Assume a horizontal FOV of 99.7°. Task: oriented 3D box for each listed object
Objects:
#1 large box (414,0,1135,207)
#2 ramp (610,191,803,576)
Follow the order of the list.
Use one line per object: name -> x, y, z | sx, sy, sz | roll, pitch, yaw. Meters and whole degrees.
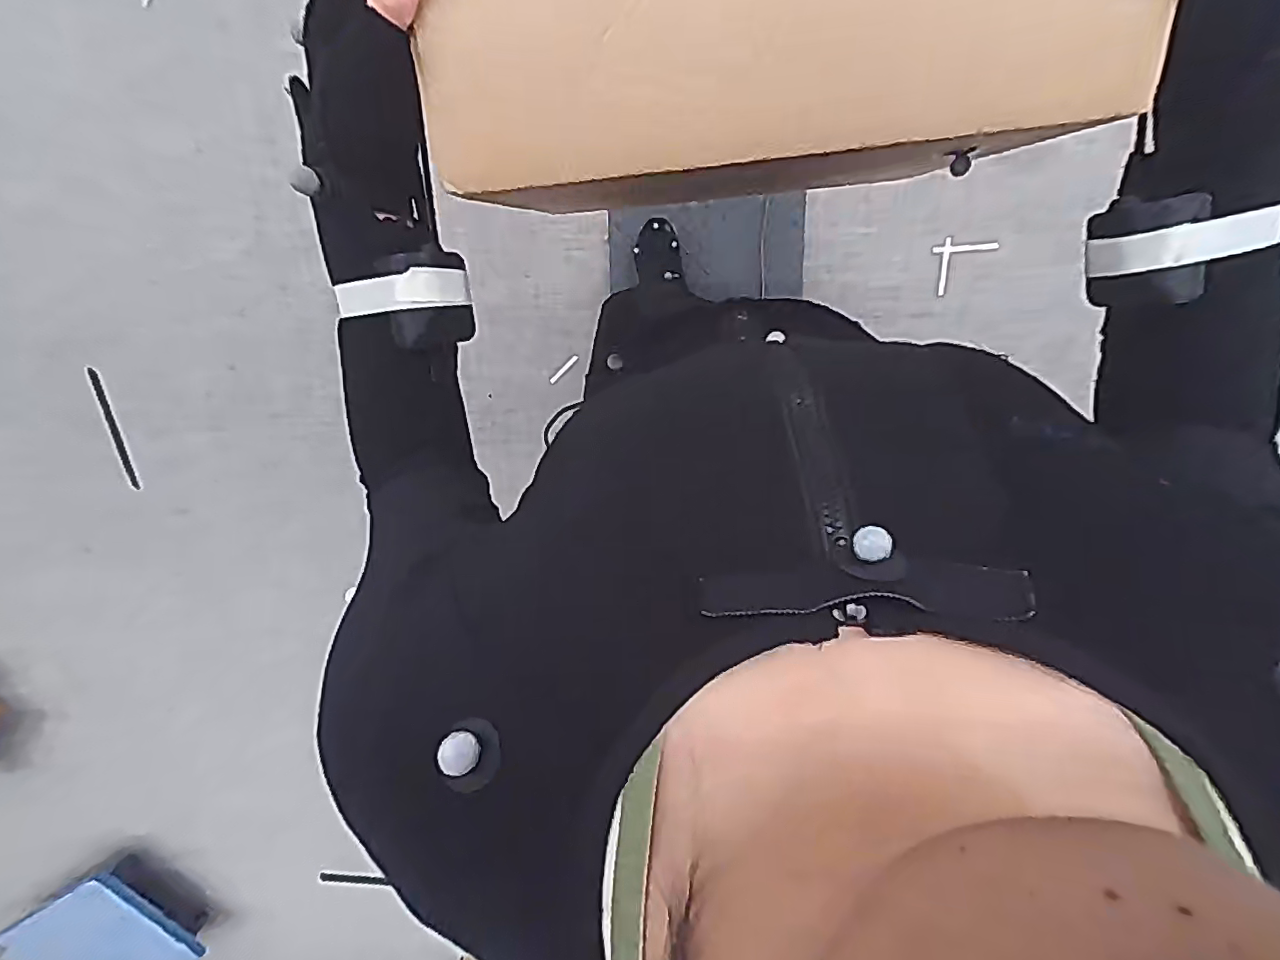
large box -> 0.072, -0.401, 0.404 | 0.408, 0.320, 0.320 | -3, 113, 6
ramp -> 0.170, -0.226, 1.444 | 0.509, 0.206, 0.991 | -1, 109, 6
